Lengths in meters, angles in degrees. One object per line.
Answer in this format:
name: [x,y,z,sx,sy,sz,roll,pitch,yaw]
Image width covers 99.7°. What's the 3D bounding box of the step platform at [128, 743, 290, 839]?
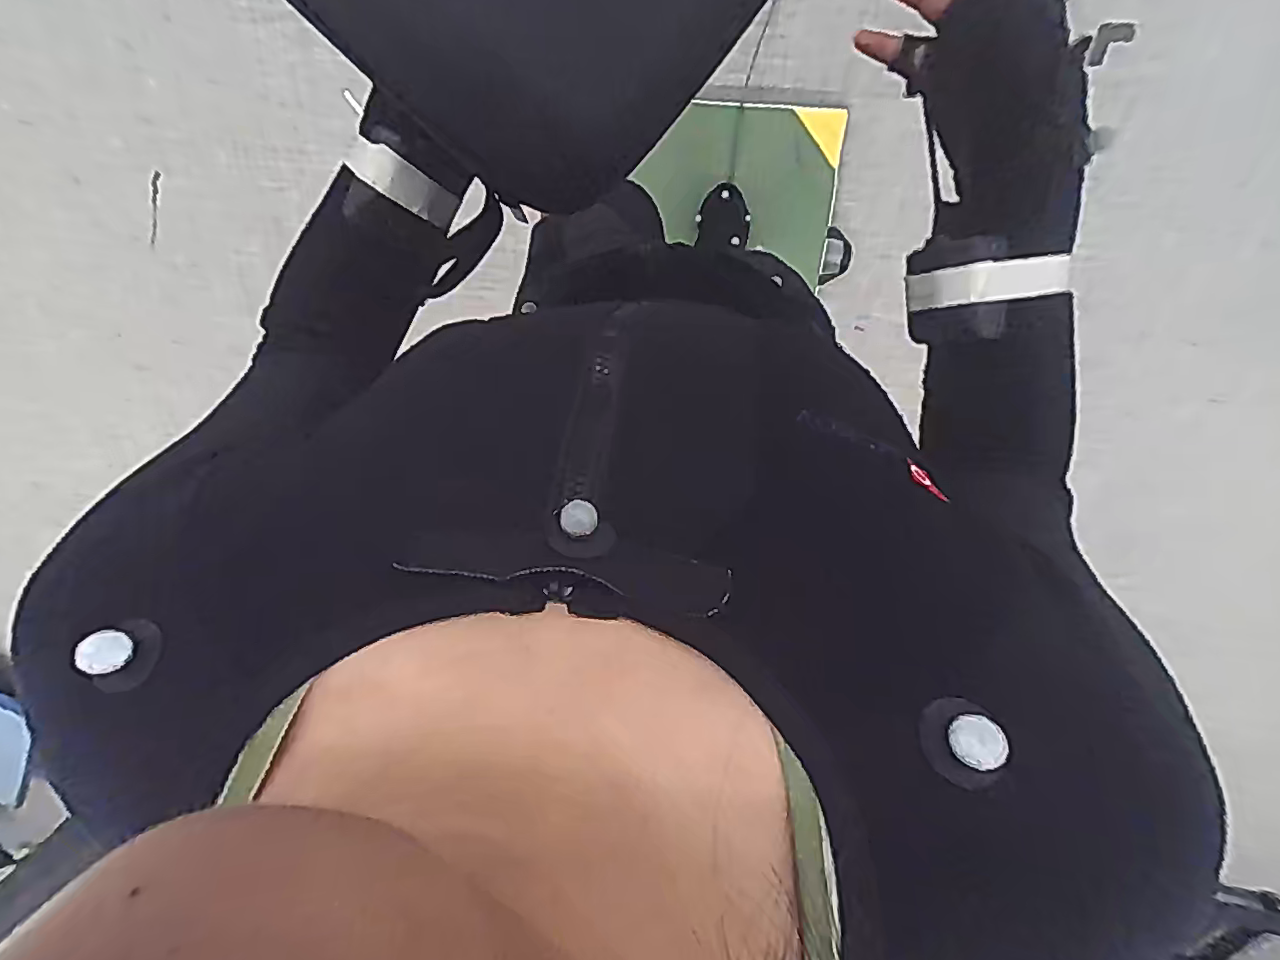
step platform: [-1.990,1.440,2.492,0.684,0.204,0.286,-21,113,15]
